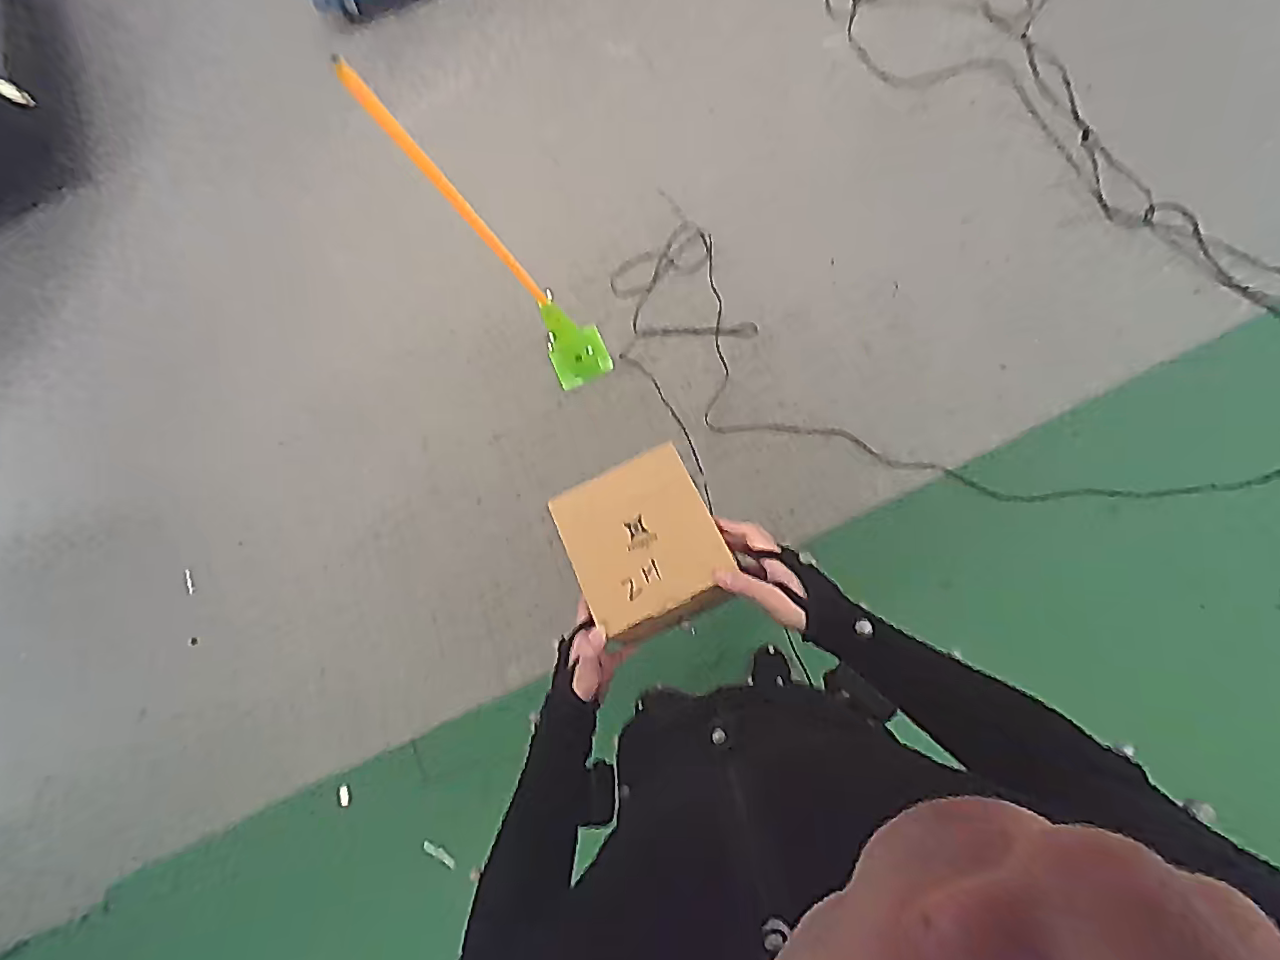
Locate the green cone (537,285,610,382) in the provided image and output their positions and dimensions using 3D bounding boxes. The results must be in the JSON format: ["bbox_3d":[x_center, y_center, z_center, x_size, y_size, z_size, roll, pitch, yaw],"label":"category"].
[{"bbox_3d":[-0.256,-0.504,1.753,0.202,0.368,0.200,-26,72,3],"label":"green cone"}]
